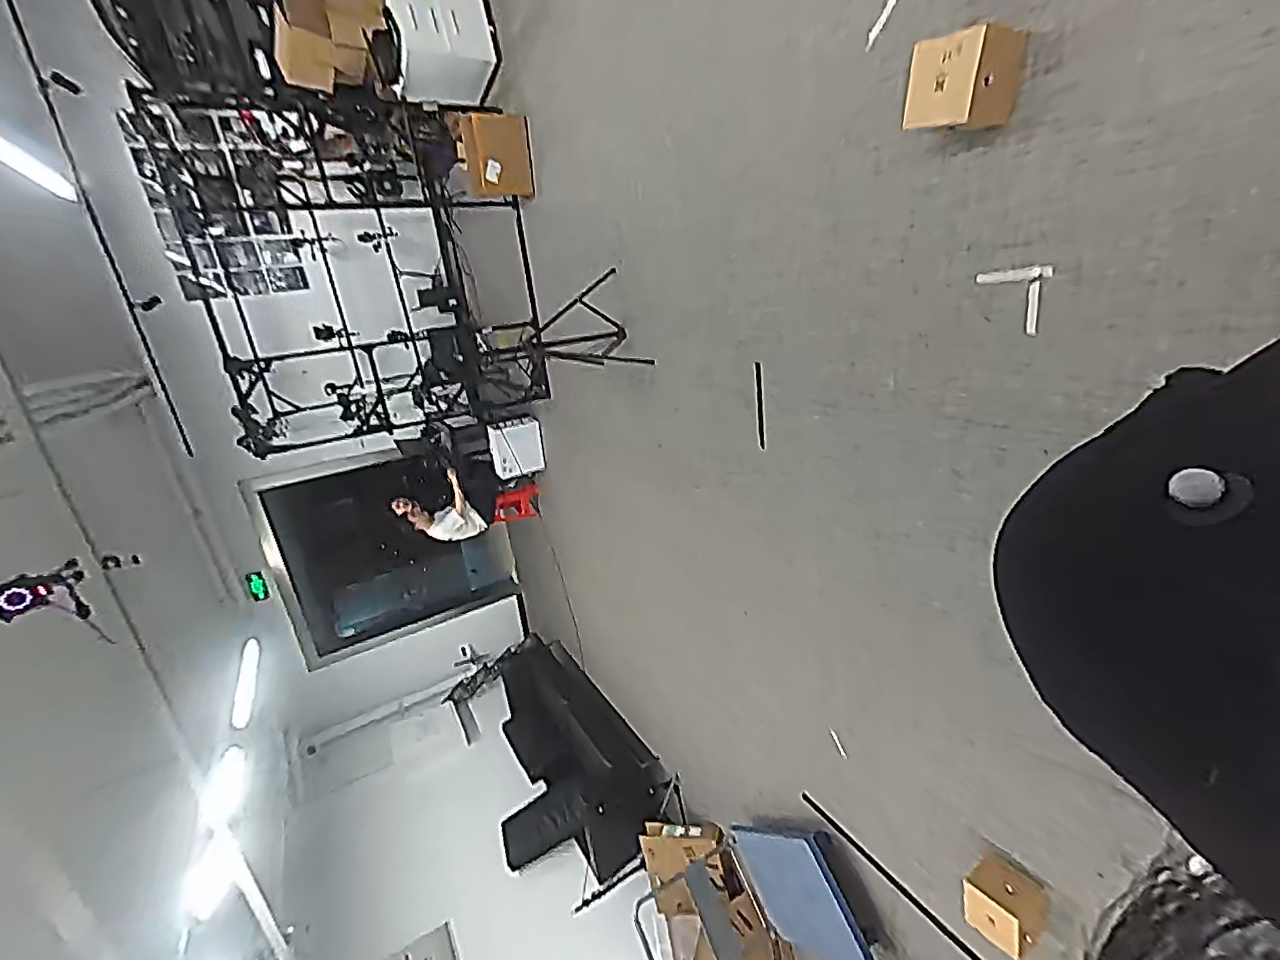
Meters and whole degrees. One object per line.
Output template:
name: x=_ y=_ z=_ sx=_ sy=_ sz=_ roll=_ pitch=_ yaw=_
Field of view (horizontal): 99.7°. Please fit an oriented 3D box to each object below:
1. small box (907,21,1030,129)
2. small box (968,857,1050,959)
small box: x=0.756 y=-0.923 z=1.248 sx=0.168 sy=0.176 sz=0.179 roll=36 pitch=135 yaw=50
small box: x=1.191 y=1.380 z=1.745 sx=0.168 sy=0.176 sz=0.179 roll=13 pitch=117 yaw=60
